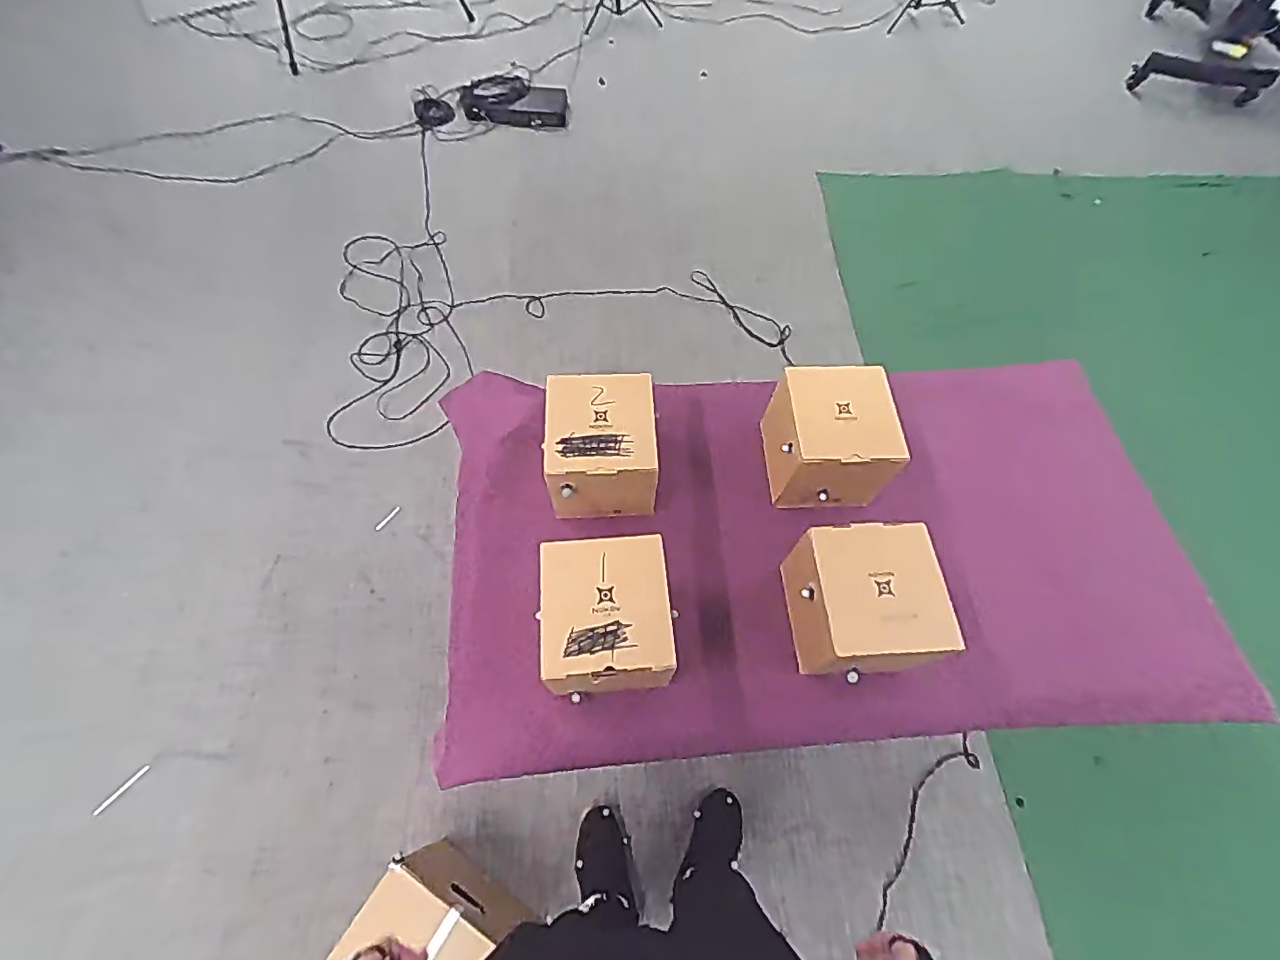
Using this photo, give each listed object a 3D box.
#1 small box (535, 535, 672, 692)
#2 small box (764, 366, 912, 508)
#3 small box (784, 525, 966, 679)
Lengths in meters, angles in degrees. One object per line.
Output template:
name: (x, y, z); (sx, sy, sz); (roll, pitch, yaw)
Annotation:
small box: (-0.049, 0.191, 0.747); (0.168, 0.176, 0.179); (-3, 61, -4)
small box: (0.311, -0.068, 0.893); (0.168, 0.176, 0.179); (0, 64, -2)
small box: (0.313, 0.176, 0.767); (0.168, 0.176, 0.179); (-1, 62, -2)
